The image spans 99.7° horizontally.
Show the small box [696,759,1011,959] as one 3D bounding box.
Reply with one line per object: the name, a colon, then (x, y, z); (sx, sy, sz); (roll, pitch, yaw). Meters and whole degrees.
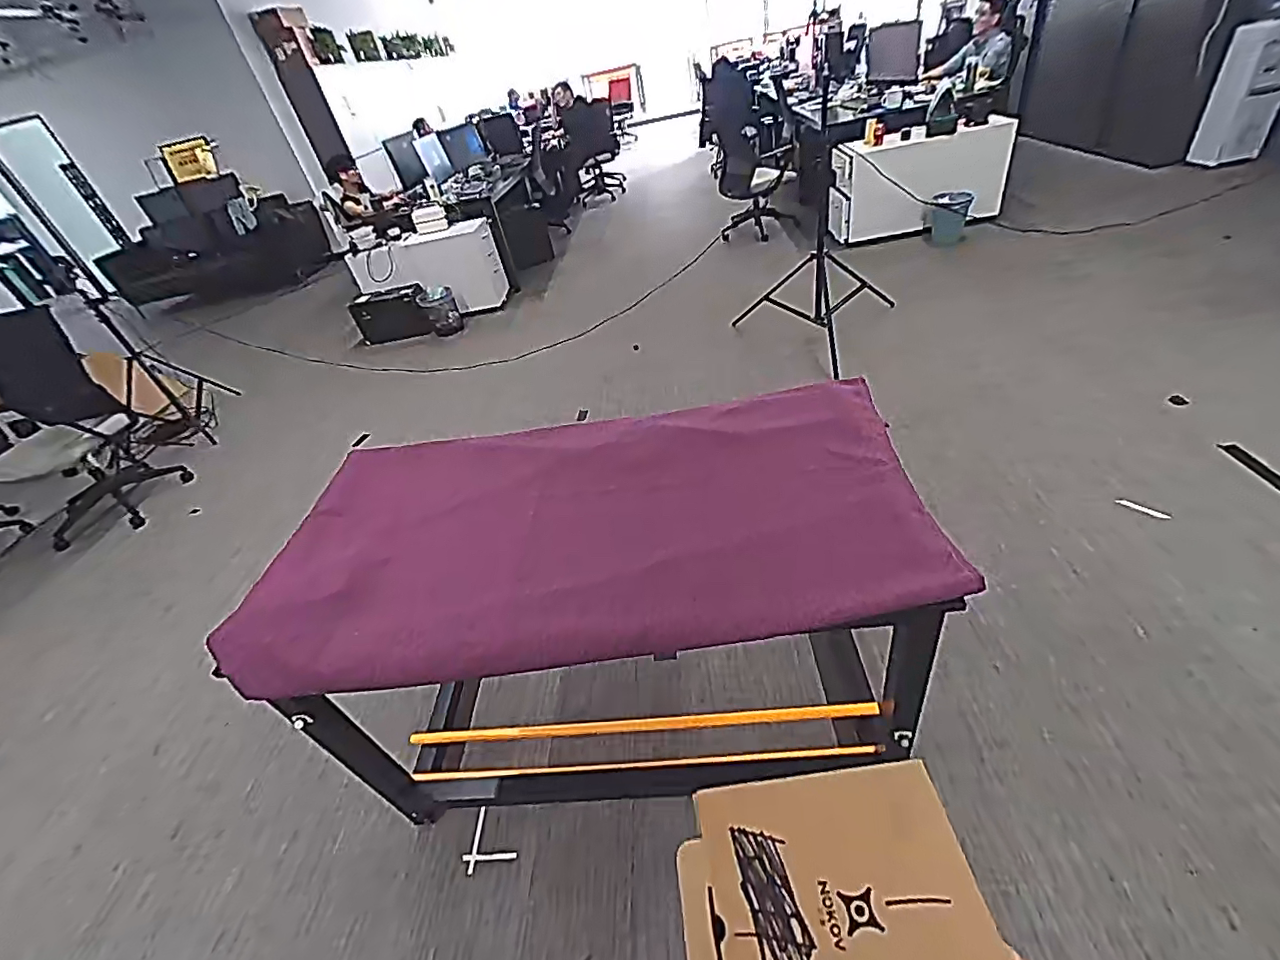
small box: (0.145, 0.337, 0.406); (0.179, 0.176, 0.168); (-8, 42, 1)
